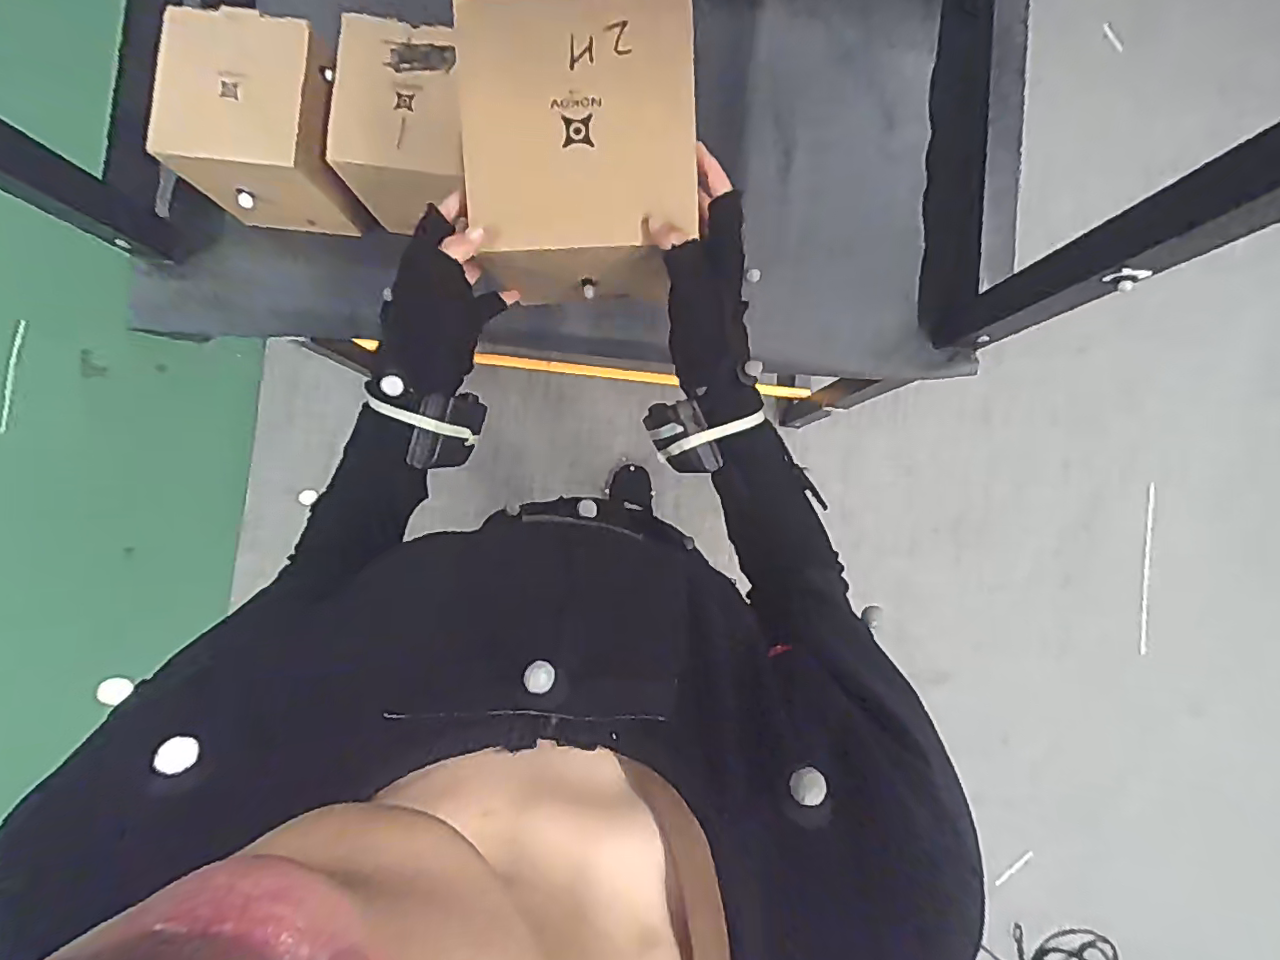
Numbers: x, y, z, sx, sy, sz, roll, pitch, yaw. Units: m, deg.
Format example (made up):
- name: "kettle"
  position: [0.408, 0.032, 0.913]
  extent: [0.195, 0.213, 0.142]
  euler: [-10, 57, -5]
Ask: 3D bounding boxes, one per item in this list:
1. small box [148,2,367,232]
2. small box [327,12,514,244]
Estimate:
- name: "small box"
  position: [-0.461, -0.441, 0.686]
  extent: [0.168, 0.176, 0.179]
  euler: [5, 87, -2]
- name: "small box"
  position: [-0.265, -0.434, 0.692]
  extent: [0.168, 0.176, 0.179]
  euler: [6, 88, -1]
